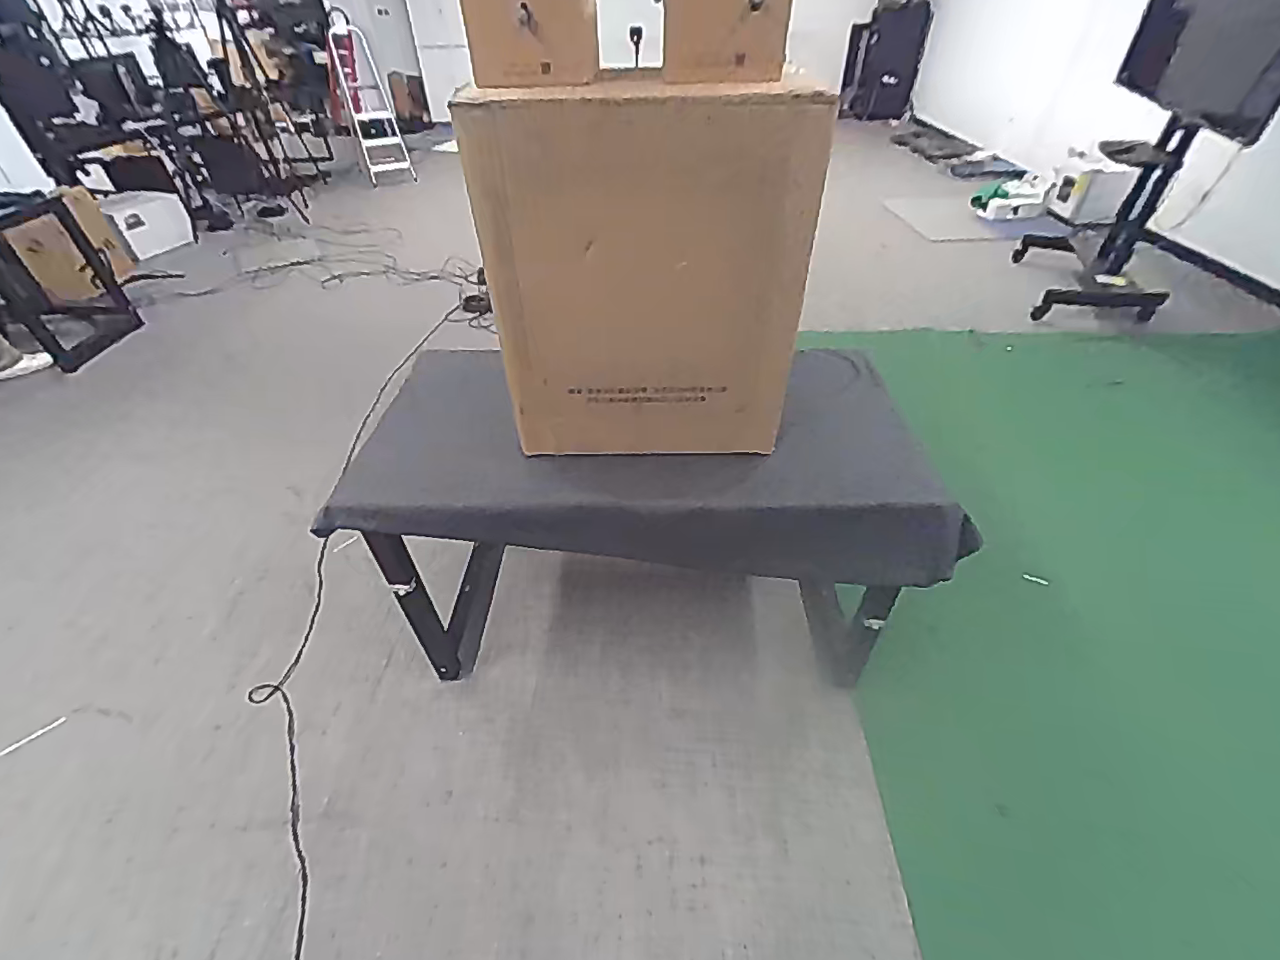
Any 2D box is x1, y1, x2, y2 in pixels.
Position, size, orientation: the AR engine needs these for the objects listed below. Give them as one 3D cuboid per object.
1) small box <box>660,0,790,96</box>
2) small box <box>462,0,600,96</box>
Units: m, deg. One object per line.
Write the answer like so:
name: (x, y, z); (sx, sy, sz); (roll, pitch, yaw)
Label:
small box: (0.116, -0.660, 0.769); (0.168, 0.176, 0.179); (2, 42, -1)
small box: (-0.148, -0.664, 0.774); (0.168, 0.176, 0.179); (0, 44, 1)
